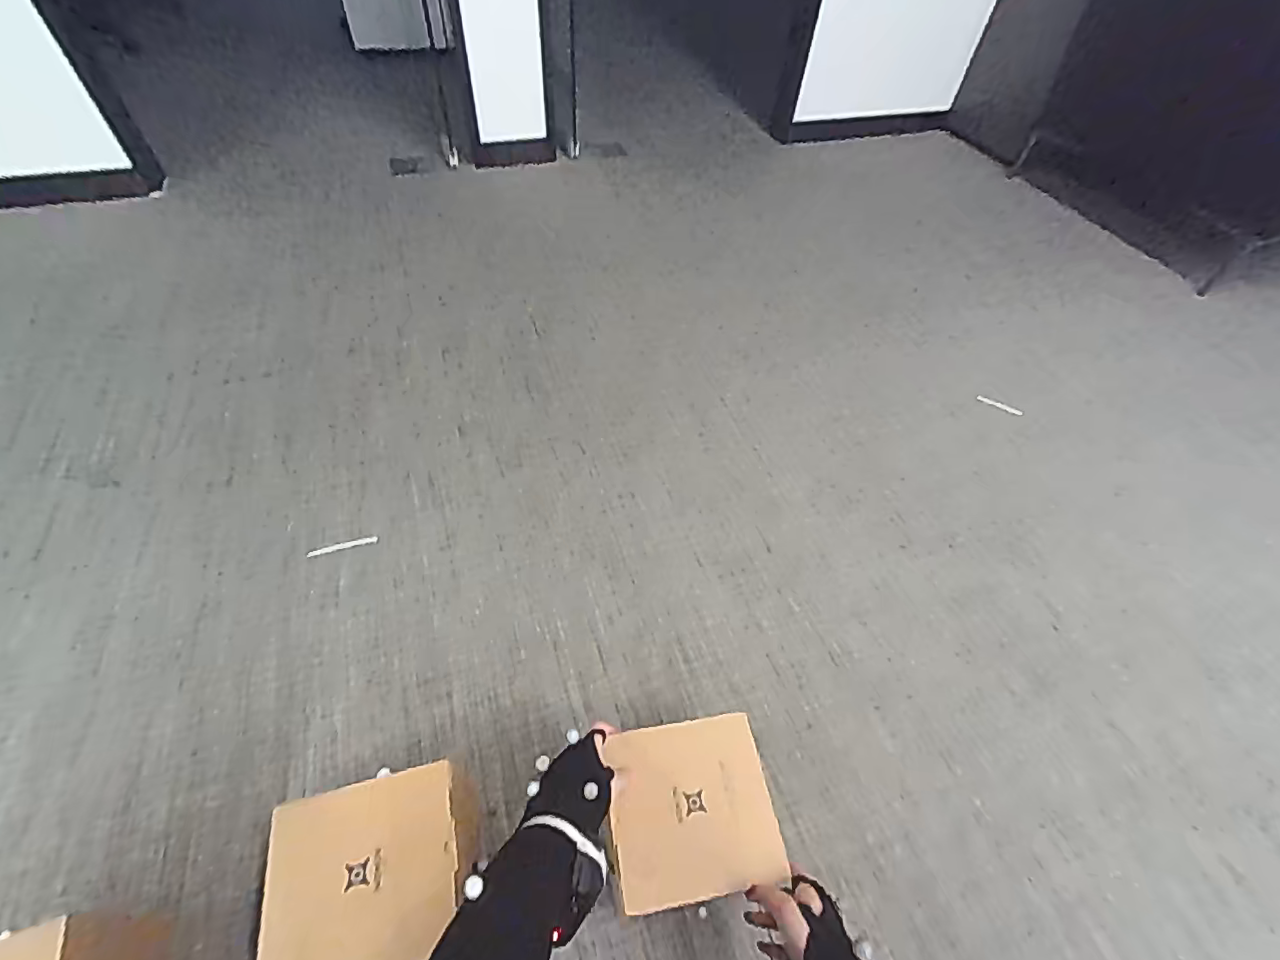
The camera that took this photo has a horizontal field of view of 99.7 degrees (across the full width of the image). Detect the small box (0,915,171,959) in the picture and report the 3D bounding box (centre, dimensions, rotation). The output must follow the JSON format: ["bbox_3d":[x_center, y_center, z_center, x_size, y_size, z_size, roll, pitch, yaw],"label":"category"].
[{"bbox_3d":[-0.573,0.524,0.485,0.179,0.176,0.168,-15,54,-17],"label":"small box"}]

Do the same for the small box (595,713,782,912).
[{"bbox_3d":[0.042,0.396,0.641,0.179,0.176,0.168,-5,53,-9],"label":"small box"}]

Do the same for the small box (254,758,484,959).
[{"bbox_3d":[-0.278,0.431,0.588,0.179,0.176,0.168,-10,53,-13],"label":"small box"}]
